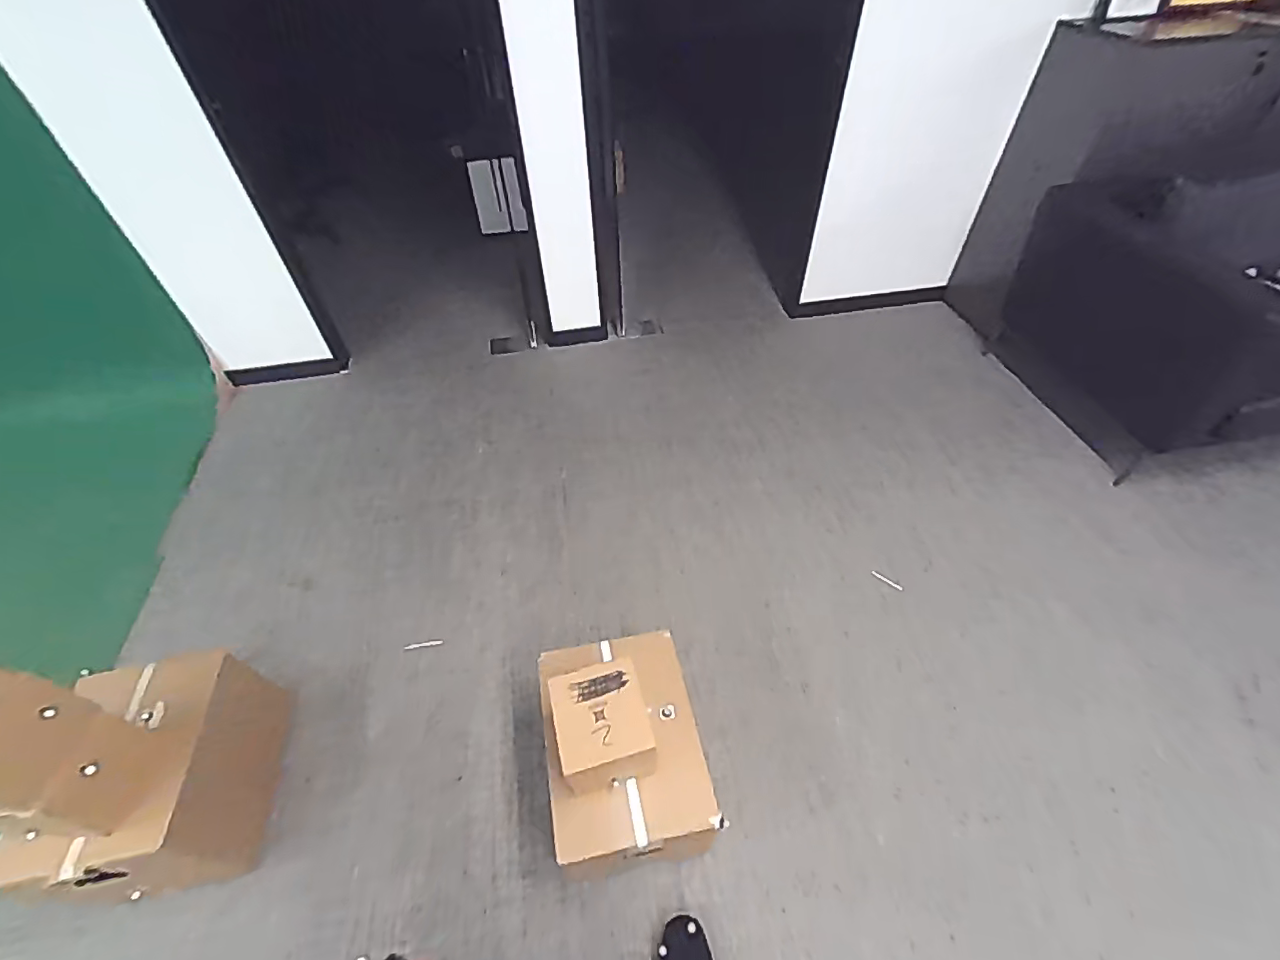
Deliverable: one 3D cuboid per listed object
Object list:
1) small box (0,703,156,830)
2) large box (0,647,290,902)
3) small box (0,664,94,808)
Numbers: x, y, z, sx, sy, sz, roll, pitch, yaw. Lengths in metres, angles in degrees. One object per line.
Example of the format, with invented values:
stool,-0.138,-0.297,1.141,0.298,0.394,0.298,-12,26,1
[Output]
small box,-1.064,0.533,1.003,0.168,0.176,0.179,-1,49,1
large box,-1.063,0.655,1.219,0.320,0.320,0.408,-9,48,-7
small box,-1.075,0.419,0.887,0.168,0.176,0.179,1,50,4
